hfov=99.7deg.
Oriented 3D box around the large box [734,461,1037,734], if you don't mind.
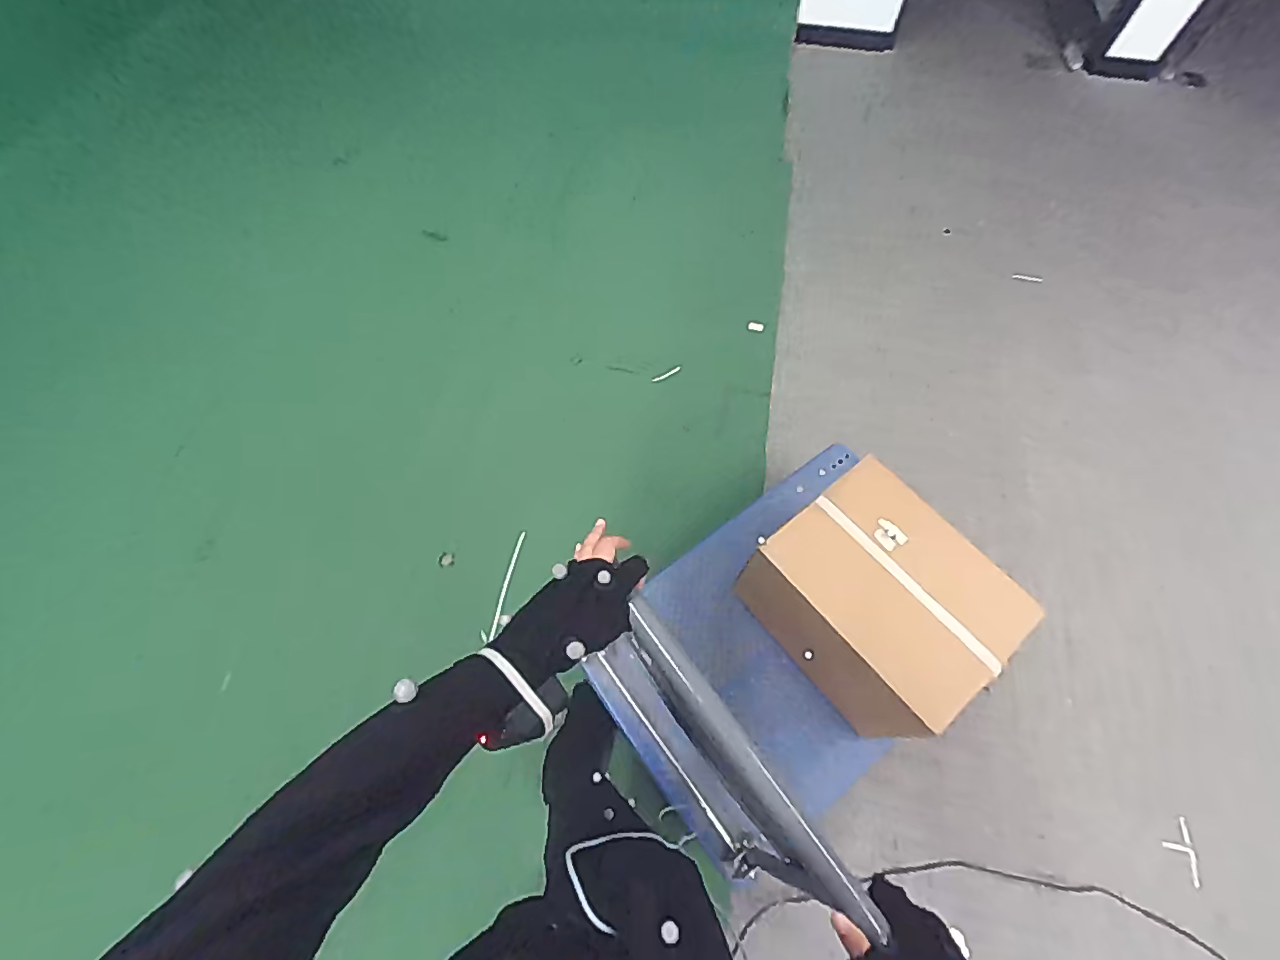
[{"bbox_3d":[0.457,0.246,1.102,0.320,0.320,0.408,-35,68,-18],"label":"large box"}]
